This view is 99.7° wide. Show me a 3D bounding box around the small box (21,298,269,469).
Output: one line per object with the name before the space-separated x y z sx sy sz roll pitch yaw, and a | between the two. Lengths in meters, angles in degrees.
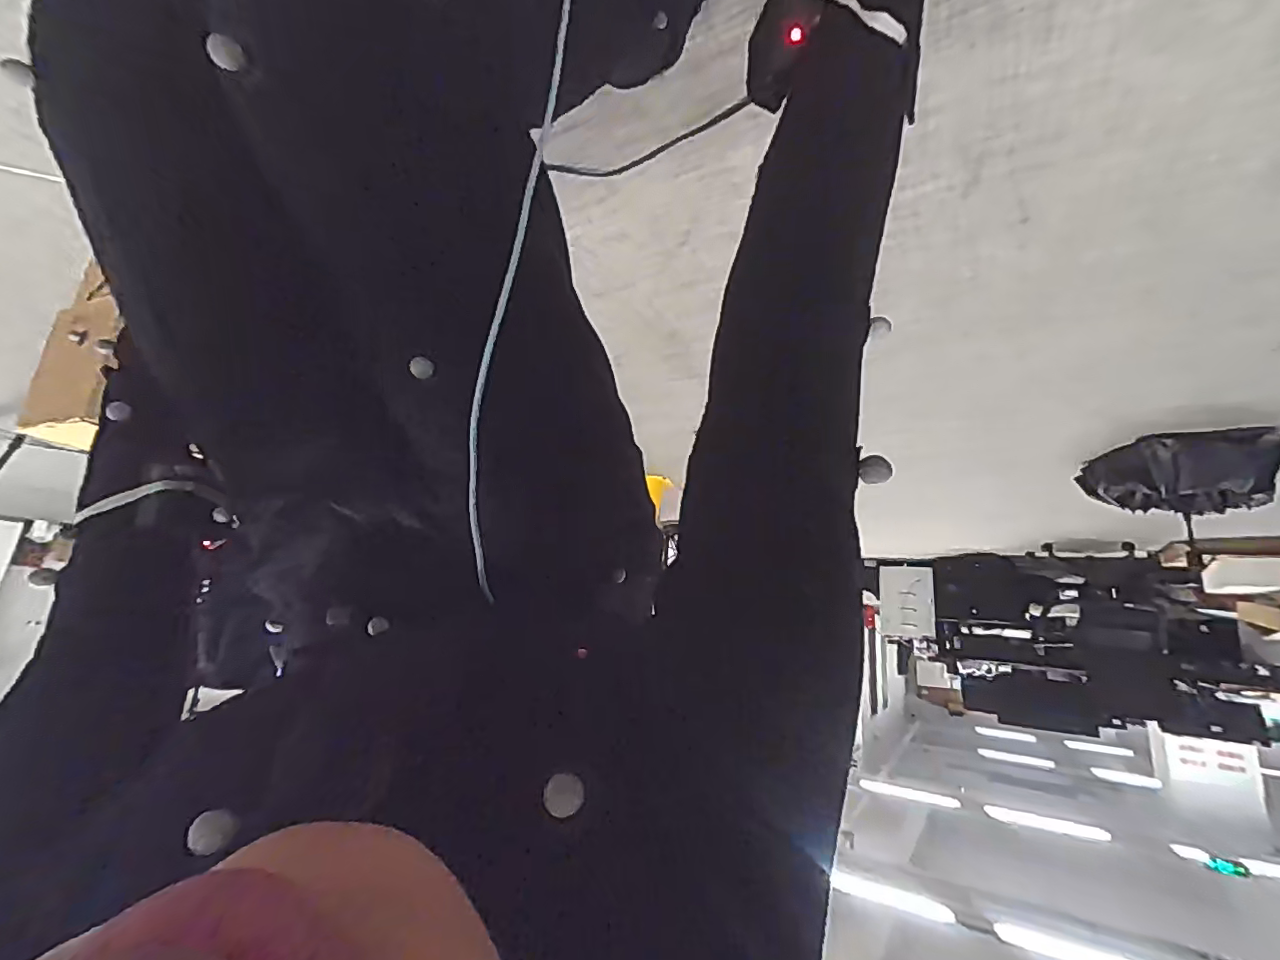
small box | -0.649 -0.120 0.730 0.168 0.176 0.179 -1 164 23
